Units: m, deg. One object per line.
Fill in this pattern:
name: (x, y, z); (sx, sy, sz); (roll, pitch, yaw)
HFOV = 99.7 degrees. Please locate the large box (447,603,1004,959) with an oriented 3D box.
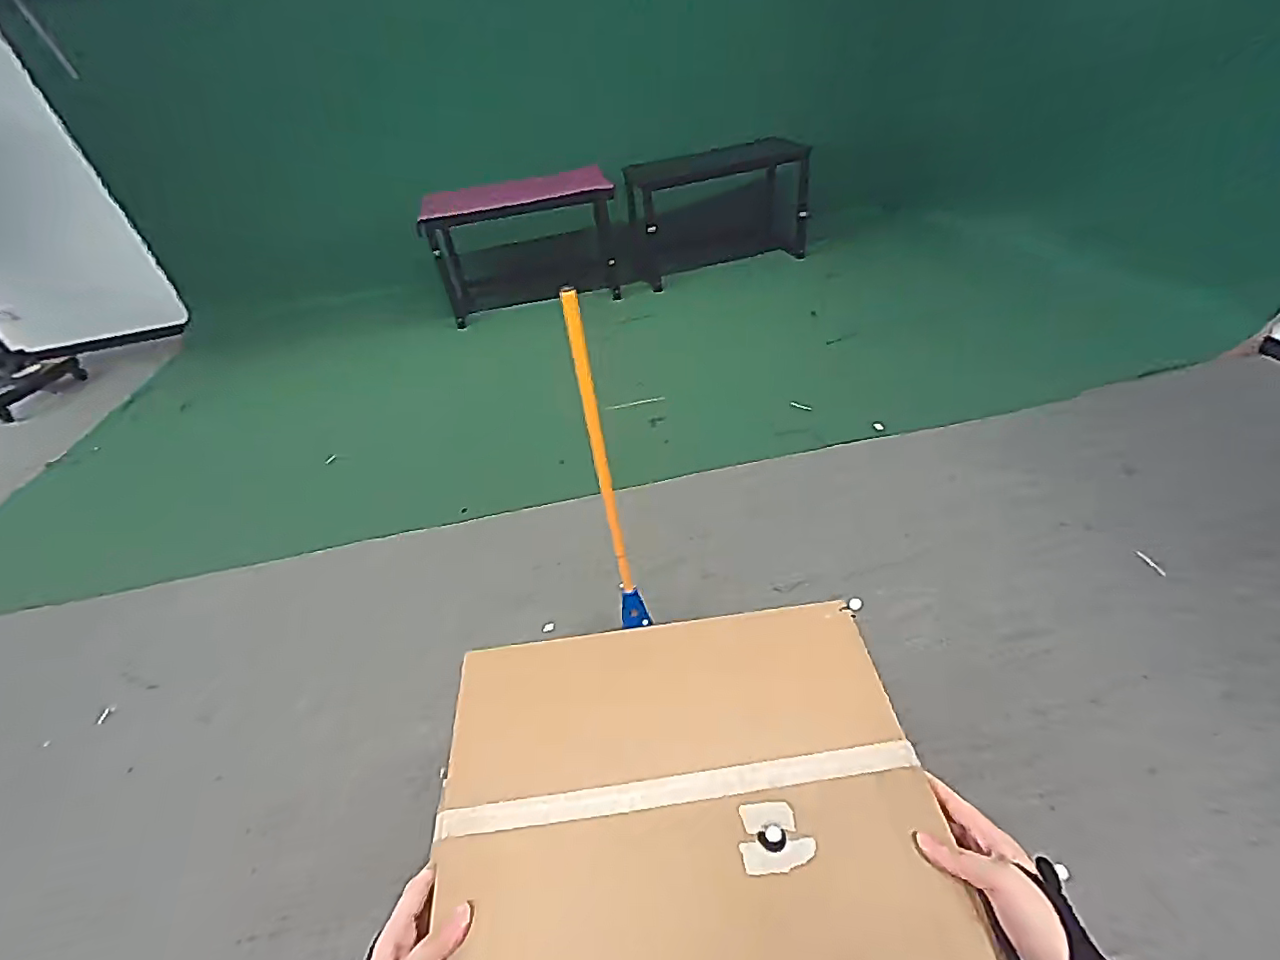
large box: (0.050, 0.369, 0.573); (0.408, 0.320, 0.320); (-7, 45, -2)
